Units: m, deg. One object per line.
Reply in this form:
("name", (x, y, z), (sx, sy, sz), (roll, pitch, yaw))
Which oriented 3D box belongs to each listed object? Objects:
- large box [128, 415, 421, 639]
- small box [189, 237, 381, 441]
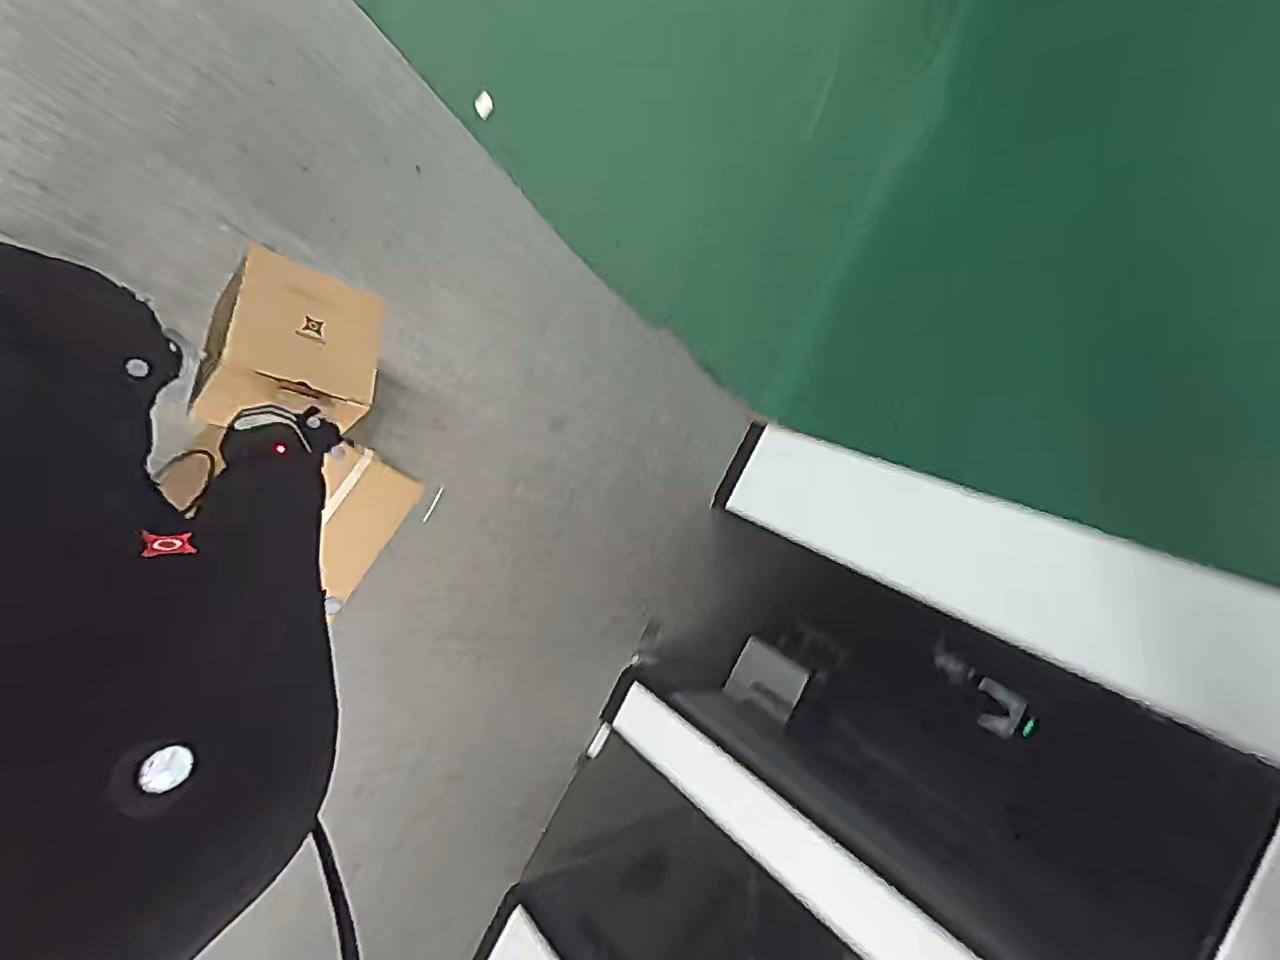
("large box", (-0.762, 0.059, 1.148), (0.408, 0.320, 0.320), (-57, 142, -7))
("small box", (-0.474, -0.173, 0.726), (0.168, 0.176, 0.179), (18, 57, -47))
